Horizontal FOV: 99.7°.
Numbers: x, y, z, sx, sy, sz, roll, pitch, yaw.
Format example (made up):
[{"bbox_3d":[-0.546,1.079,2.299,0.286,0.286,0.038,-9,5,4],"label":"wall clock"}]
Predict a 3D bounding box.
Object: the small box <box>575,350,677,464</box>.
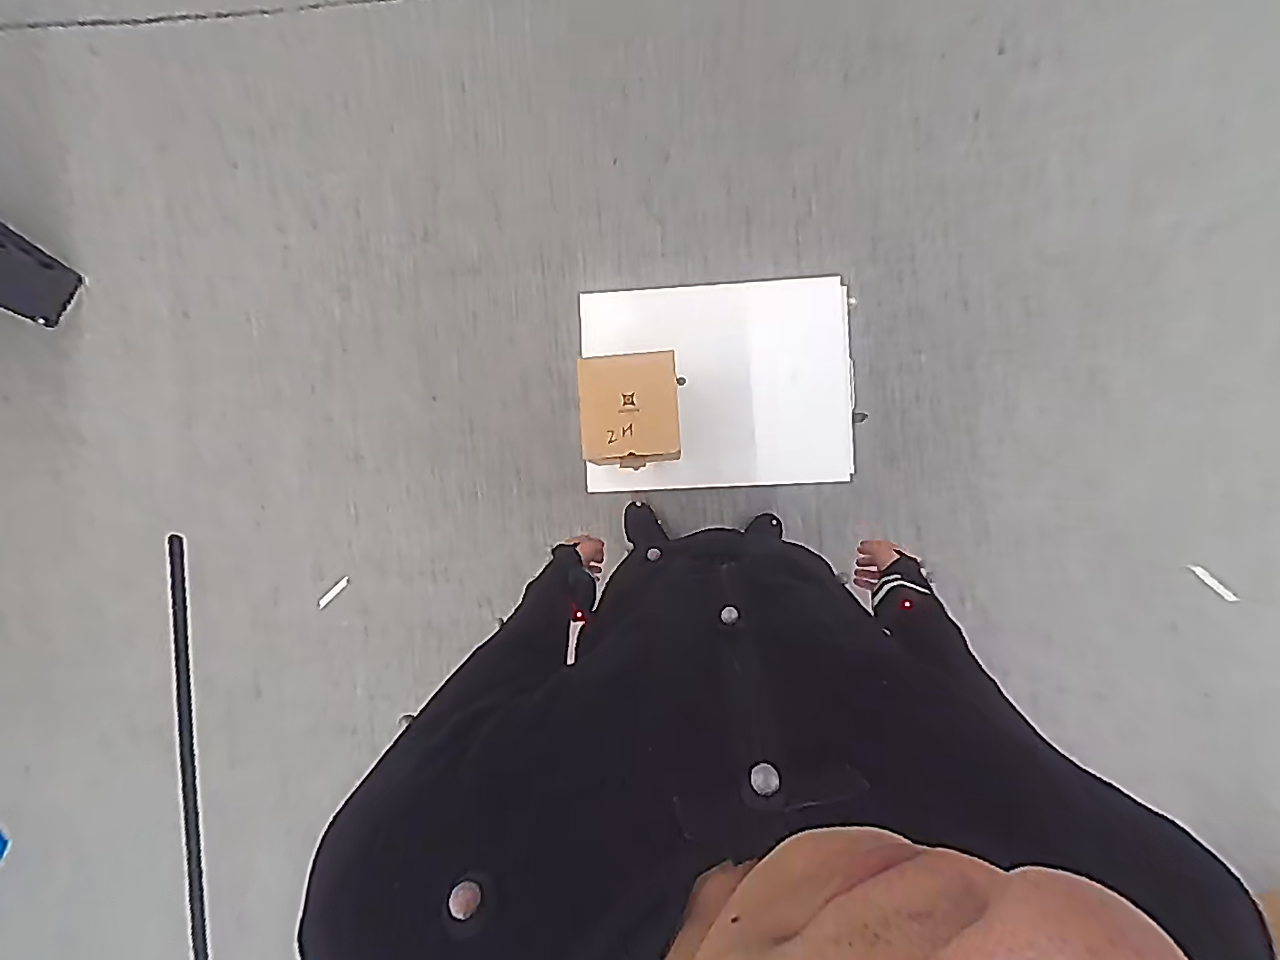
[{"bbox_3d":[-0.020,-0.123,0.973,0.168,0.176,0.179,-3,89,4],"label":"small box"}]
